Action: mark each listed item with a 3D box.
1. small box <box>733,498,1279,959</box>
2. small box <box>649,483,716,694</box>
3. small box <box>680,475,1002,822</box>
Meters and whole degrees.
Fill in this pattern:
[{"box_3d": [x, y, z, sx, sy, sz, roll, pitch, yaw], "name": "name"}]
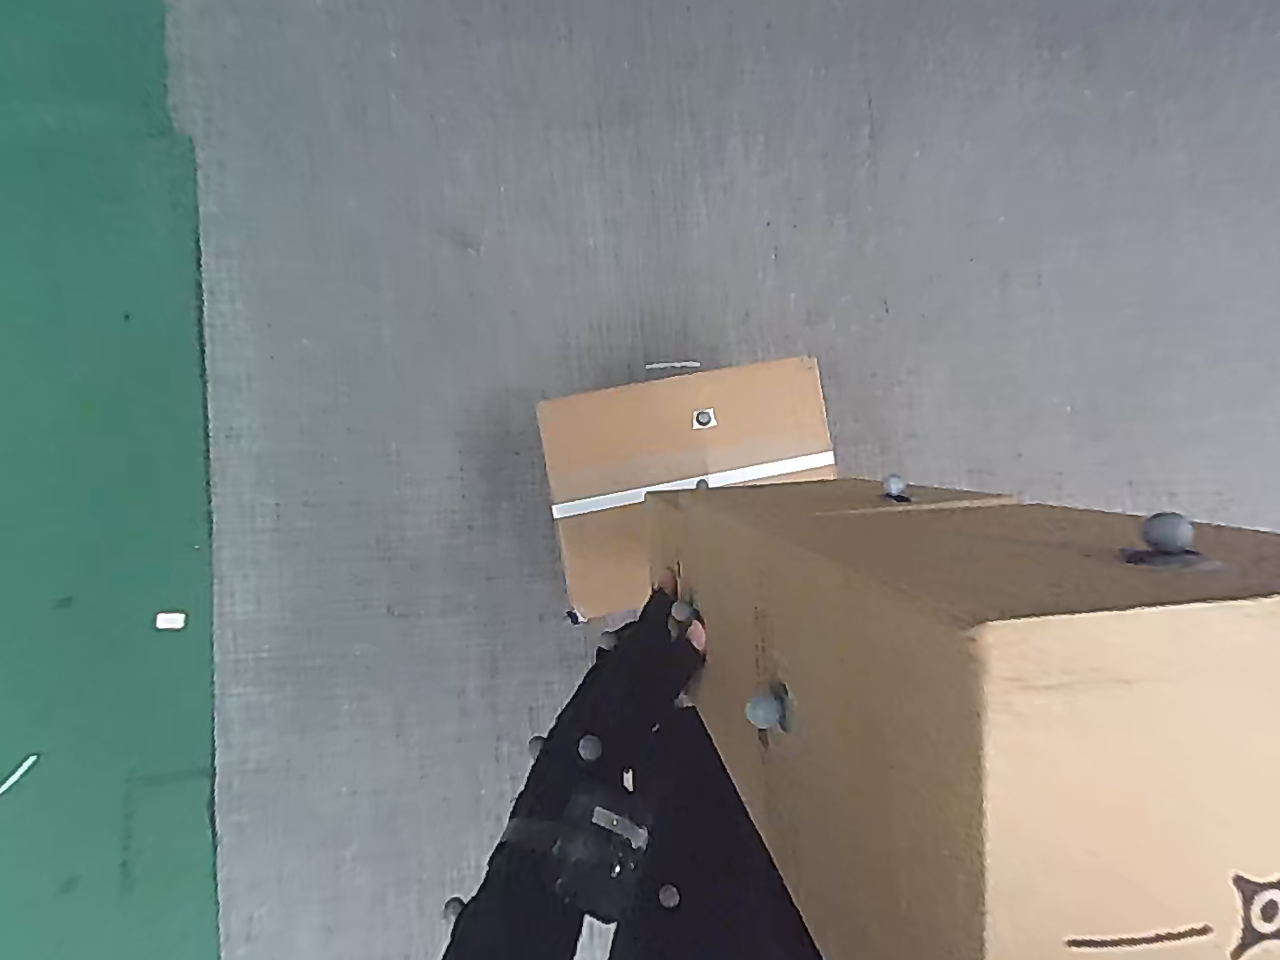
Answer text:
[{"box_3d": [0.152, 0.103, 0.218, 0.179, 0.176, 0.168, -7, 94, -8], "name": "small box"}, {"box_3d": [0.105, 0.091, 0.544, 0.179, 0.176, 0.168, -5, 95, -8], "name": "small box"}, {"box_3d": [0.126, 0.094, 0.381, 0.168, 0.176, 0.179, -4, 95, -7], "name": "small box"}]
